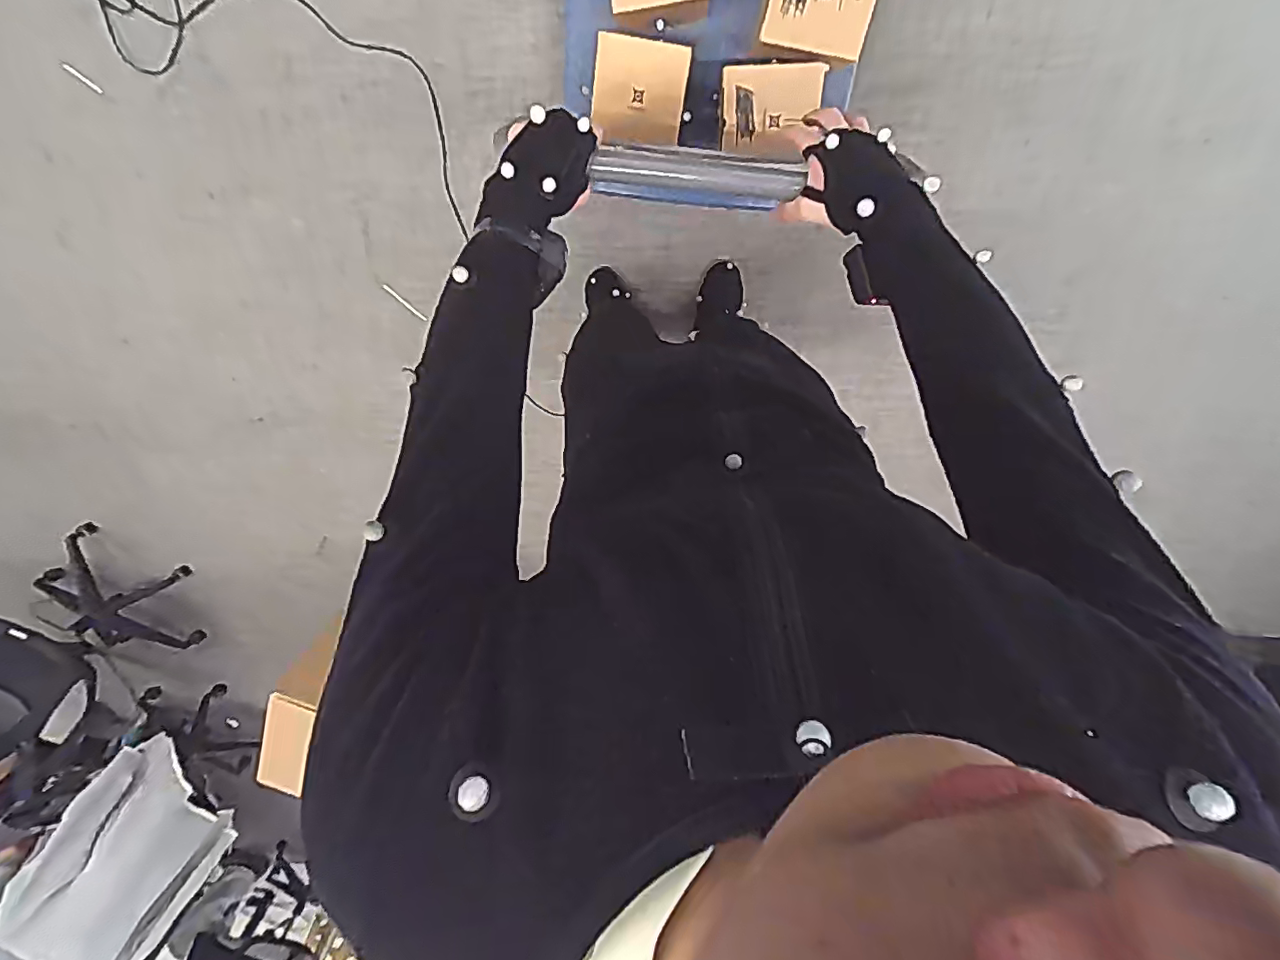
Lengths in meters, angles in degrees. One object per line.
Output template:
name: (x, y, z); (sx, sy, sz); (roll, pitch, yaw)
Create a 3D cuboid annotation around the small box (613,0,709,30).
small box: (0.035, -0.906, 0.932); (0.168, 0.176, 0.179); (-4, 119, 6)

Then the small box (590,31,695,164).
small box: (0.005, -0.723, 1.041); (0.168, 0.176, 0.179); (10, 120, -1)
